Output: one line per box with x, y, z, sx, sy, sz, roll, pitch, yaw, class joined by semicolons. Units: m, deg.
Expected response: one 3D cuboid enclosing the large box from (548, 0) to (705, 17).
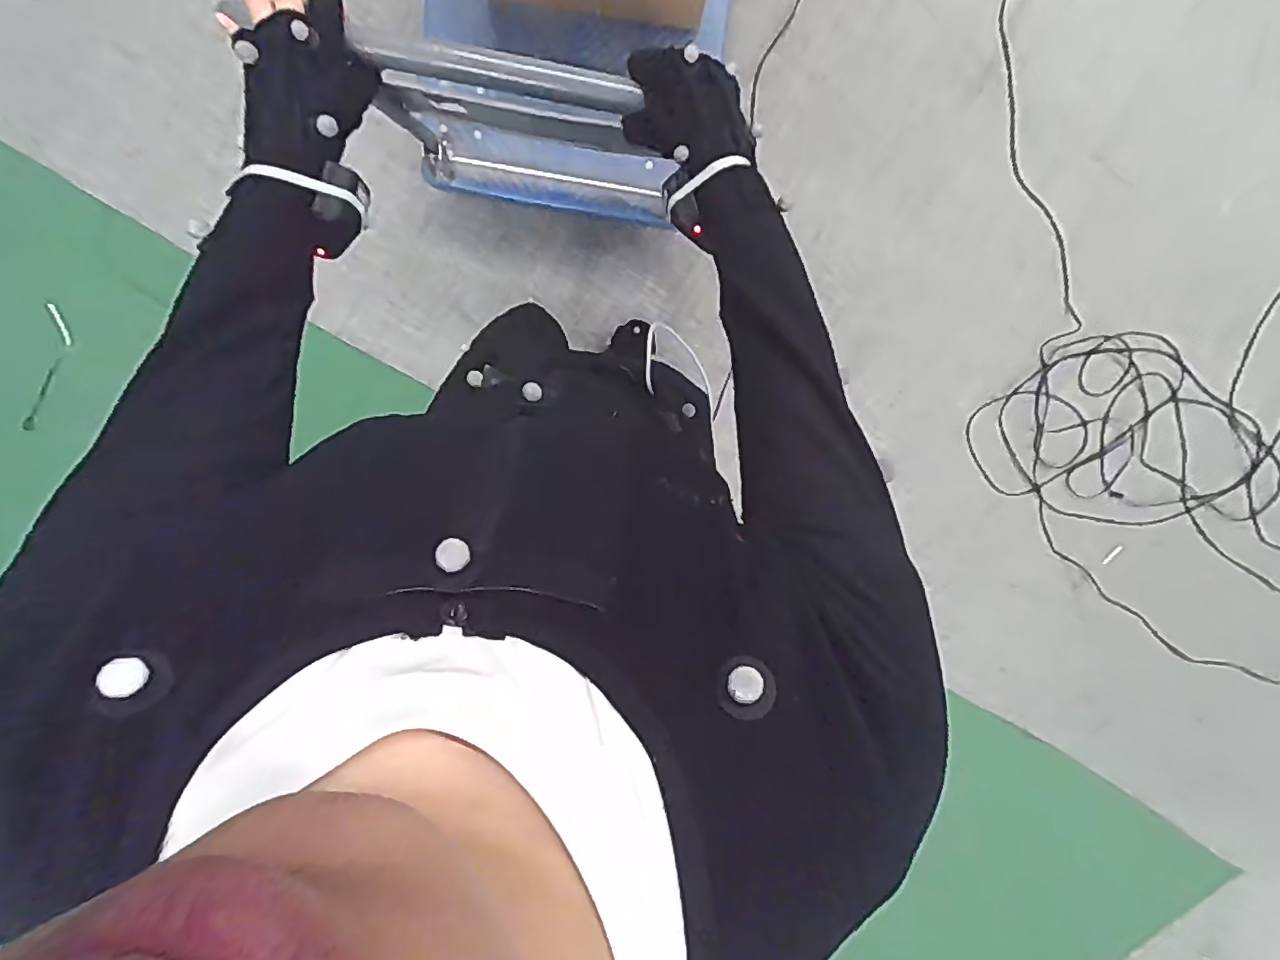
-0.063;-1.001;0.848;0.408;0.320;0.320;6;107;-3;large box
